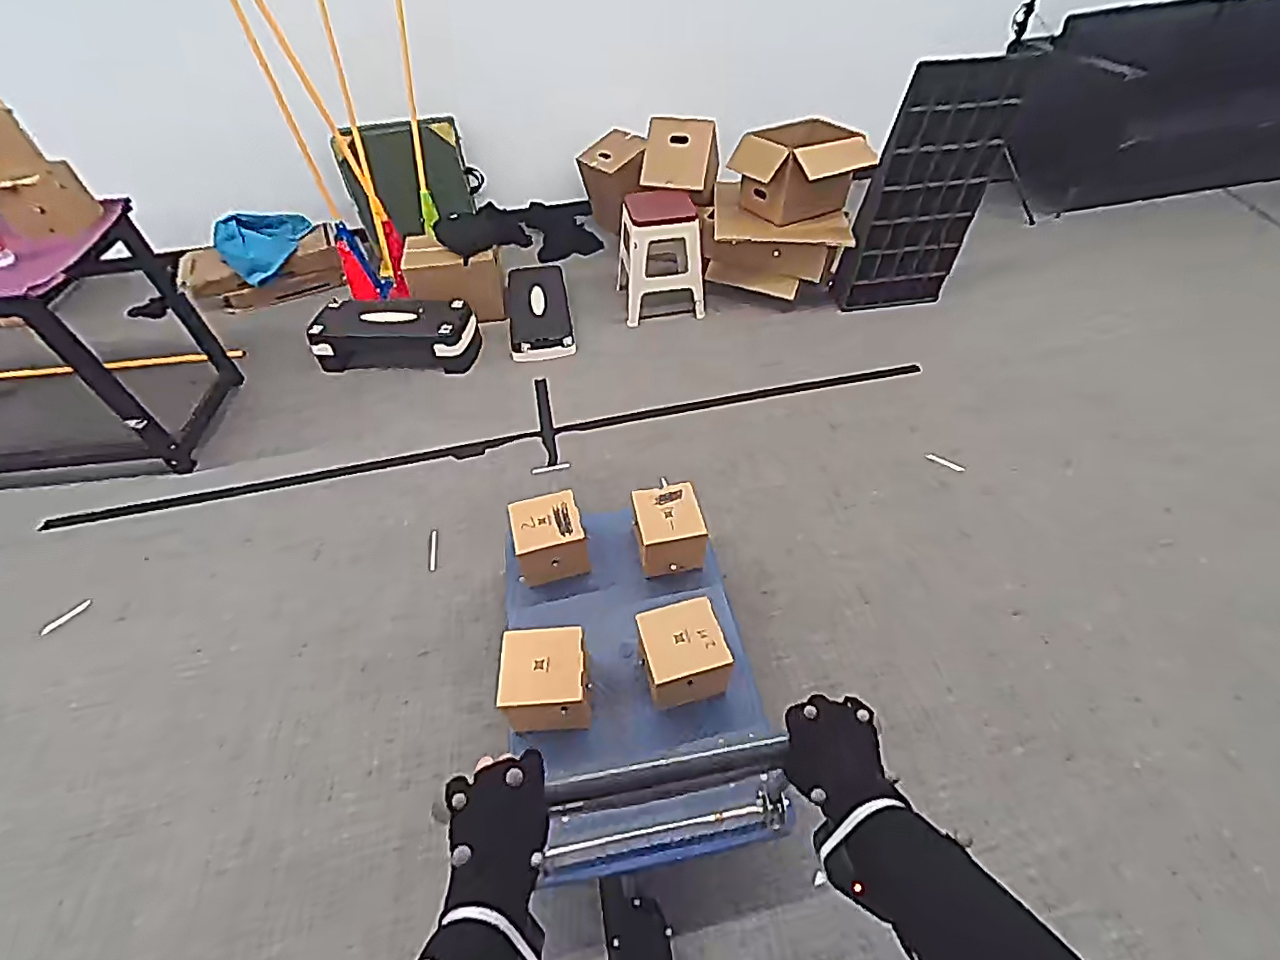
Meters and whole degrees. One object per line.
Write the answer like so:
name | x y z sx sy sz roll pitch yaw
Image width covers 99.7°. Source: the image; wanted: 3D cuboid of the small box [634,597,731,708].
small box | 0.094 0.400 1.243 0.179 0.176 0.168 -13 50 -9

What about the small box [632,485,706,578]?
small box | 0.072 0.141 1.470 0.168 0.176 0.179 -10 50 -7

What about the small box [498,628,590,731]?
small box | -0.207 0.449 1.211 0.179 0.176 0.168 -3 48 -3
